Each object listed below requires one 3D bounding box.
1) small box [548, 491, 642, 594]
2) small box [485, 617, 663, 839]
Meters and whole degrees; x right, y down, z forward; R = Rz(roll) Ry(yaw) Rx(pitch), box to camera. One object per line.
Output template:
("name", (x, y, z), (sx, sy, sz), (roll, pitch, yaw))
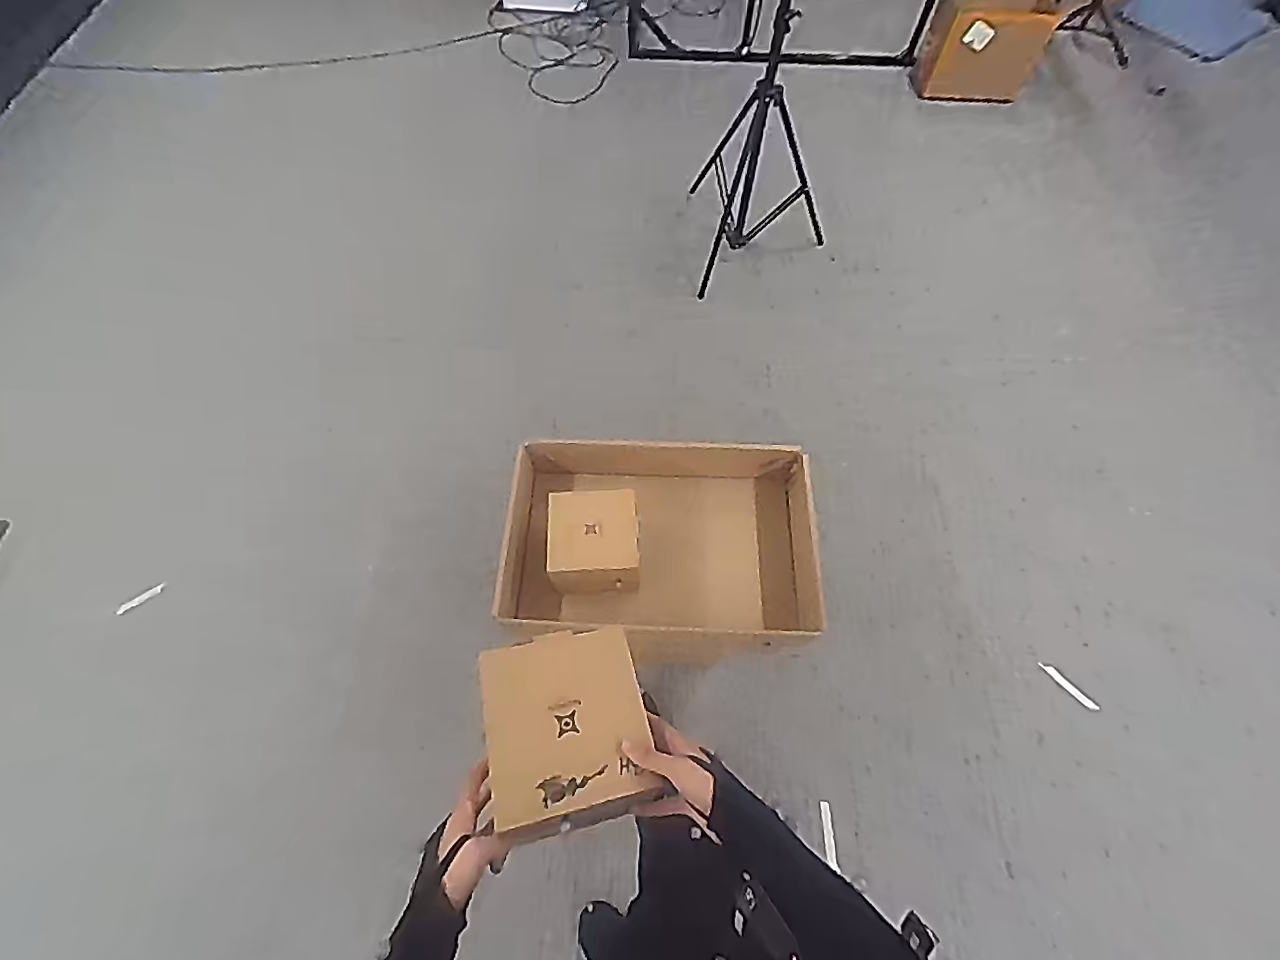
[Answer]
("small box", (-0.088, 0.132, 1.111), (0.179, 0.176, 0.168), (-2, 63, -1))
("small box", (-0.085, 0.288, 0.630), (0.168, 0.176, 0.179), (-8, 52, -15))
